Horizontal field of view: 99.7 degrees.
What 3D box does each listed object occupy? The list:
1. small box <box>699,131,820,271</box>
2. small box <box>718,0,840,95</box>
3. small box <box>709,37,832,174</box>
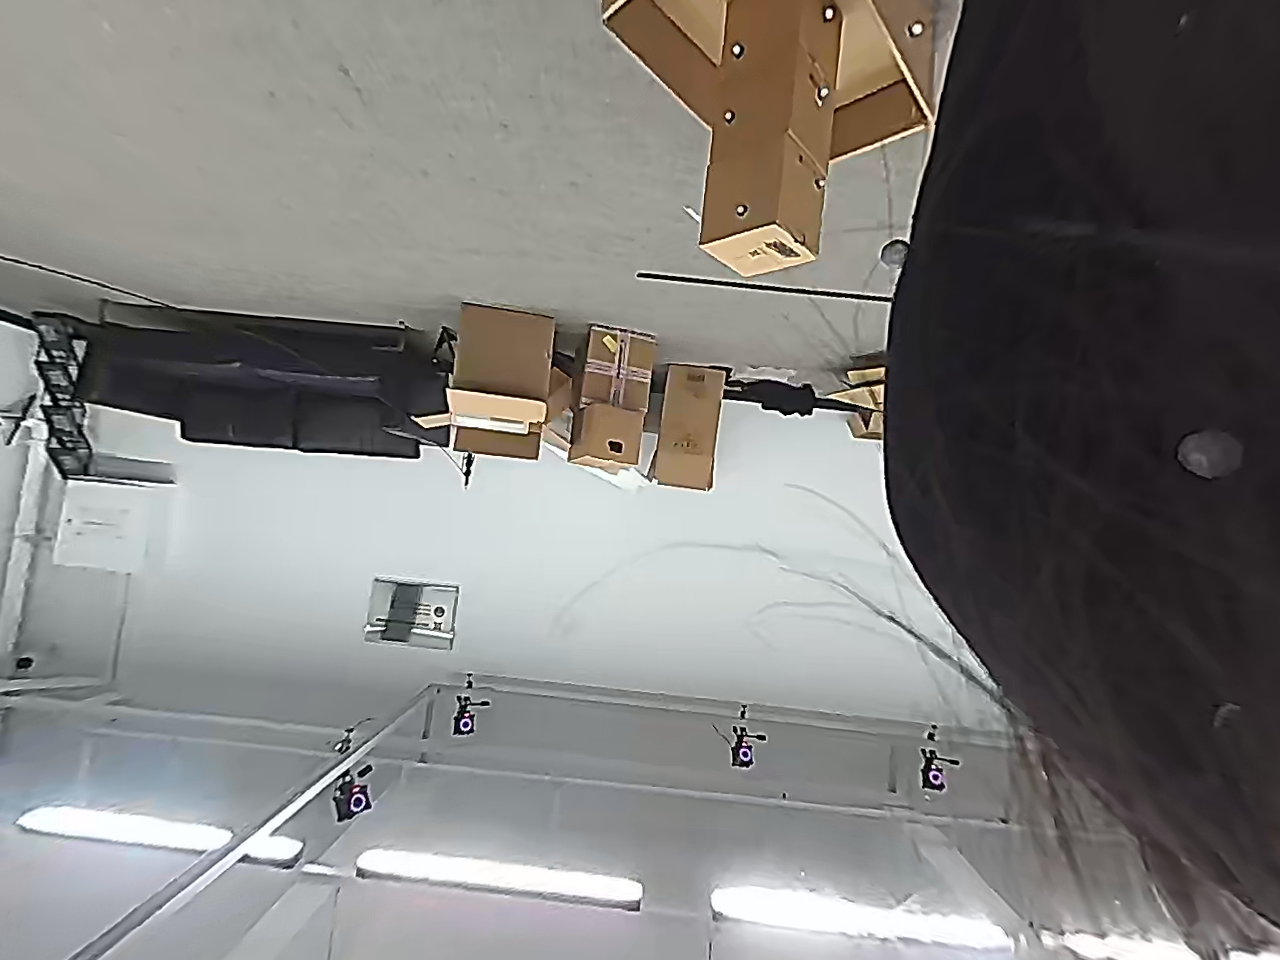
[{"bbox_3d":[0.238,-0.537,1.057,0.179,0.176,0.168,5,178,44],"label":"small box"},{"bbox_3d":[0.277,-0.861,1.068,0.179,0.176,0.168,3,176,41],"label":"small box"},{"bbox_3d":[0.258,-0.700,1.060,0.179,0.176,0.168,2,176,43],"label":"small box"}]
